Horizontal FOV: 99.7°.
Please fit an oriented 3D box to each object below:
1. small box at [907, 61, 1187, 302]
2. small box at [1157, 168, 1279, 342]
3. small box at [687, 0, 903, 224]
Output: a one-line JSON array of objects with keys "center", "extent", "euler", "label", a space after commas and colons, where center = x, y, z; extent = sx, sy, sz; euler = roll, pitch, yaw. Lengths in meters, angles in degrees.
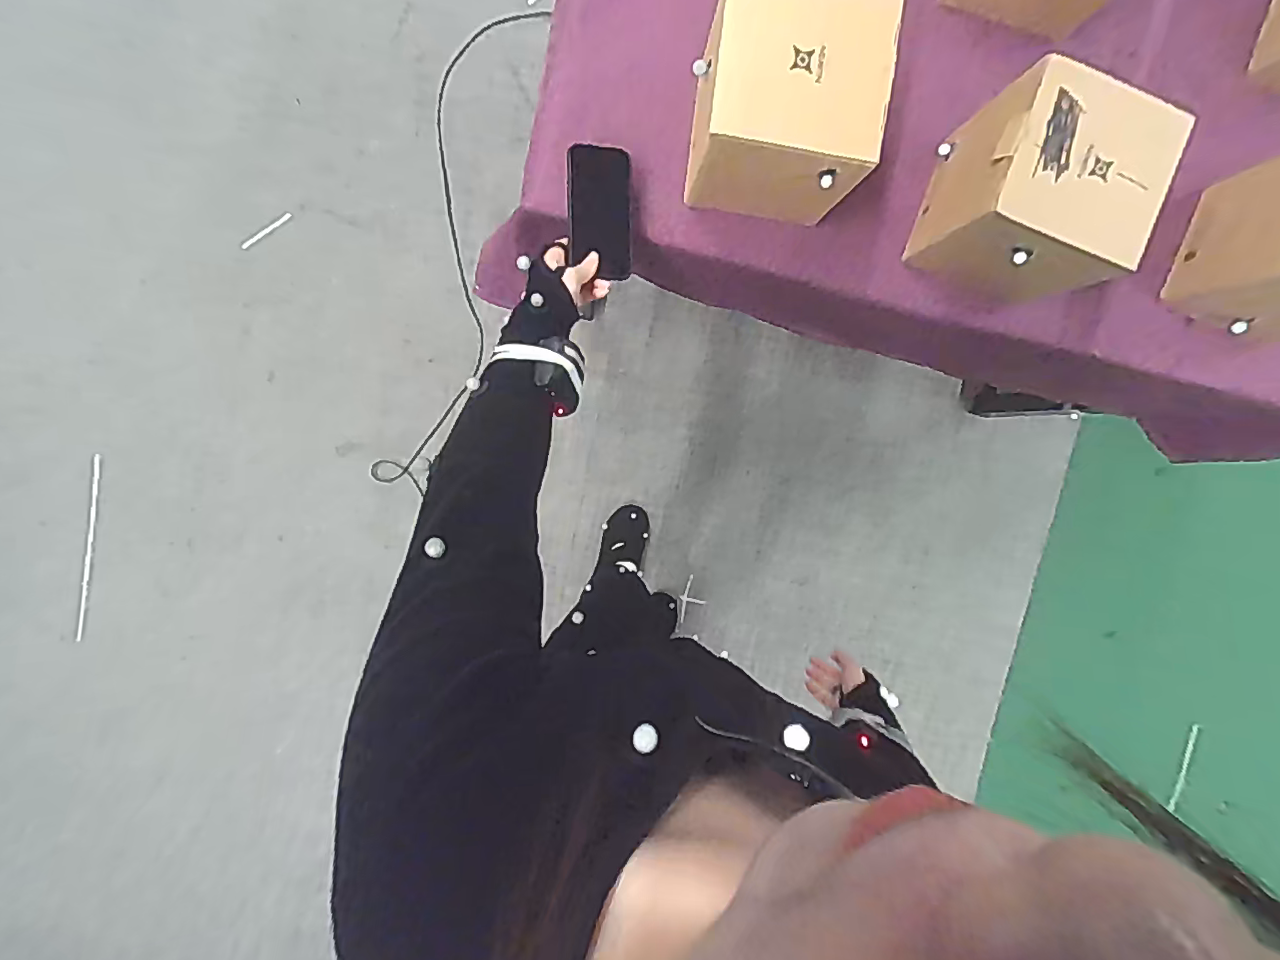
[{"center": [0.457, -0.328, 0.638], "extent": [0.179, 0.176, 0.168], "euler": [18, 94, -7], "label": "small box"}, {"center": [0.824, -0.283, 0.673], "extent": [0.179, 0.176, 0.168], "euler": [19, 93, -6], "label": "small box"}, {"center": [0.156, -0.409, 0.607], "extent": [0.179, 0.176, 0.168], "euler": [6, 94, -6], "label": "small box"}]
